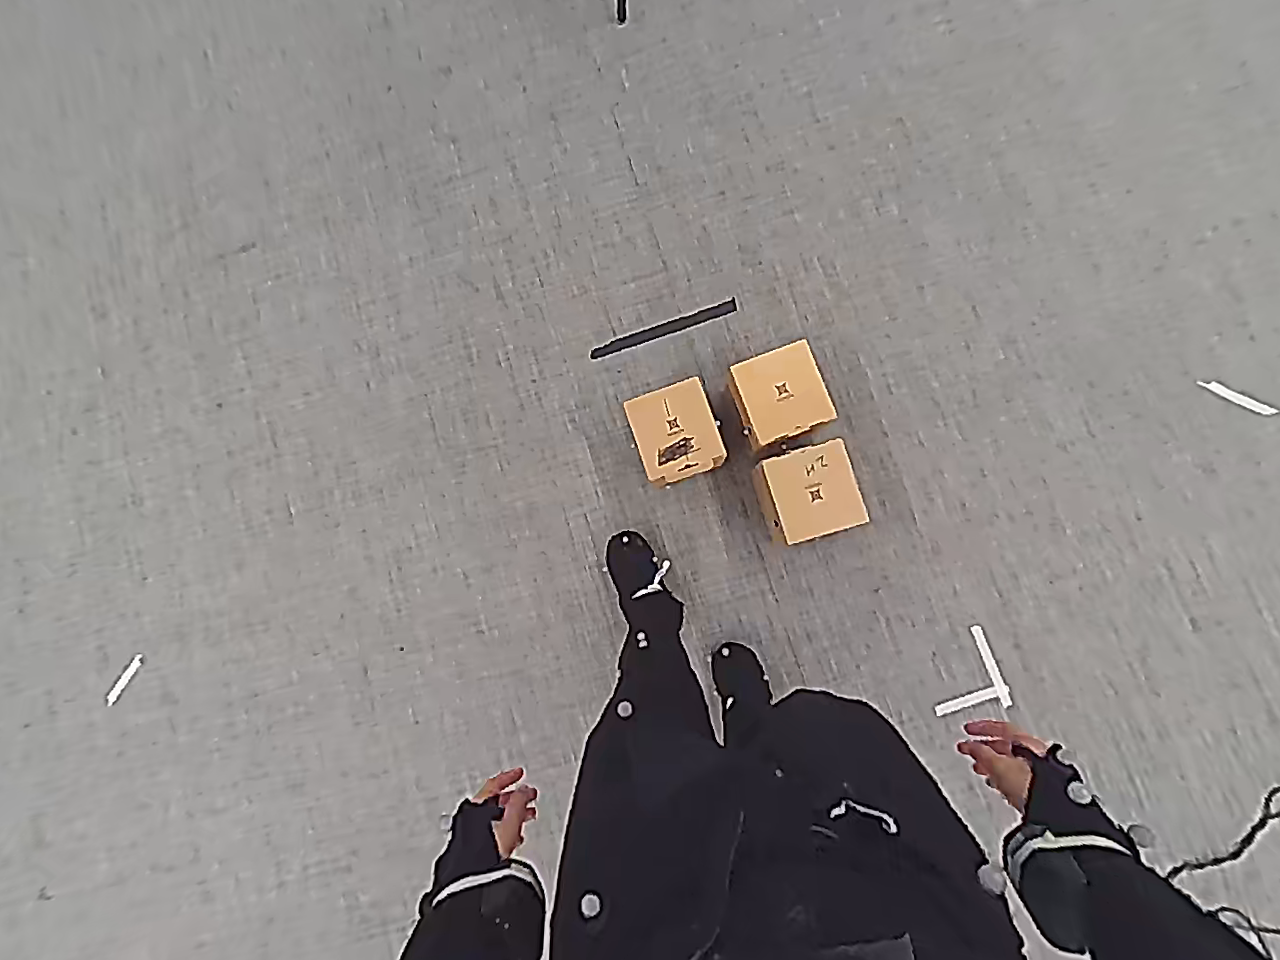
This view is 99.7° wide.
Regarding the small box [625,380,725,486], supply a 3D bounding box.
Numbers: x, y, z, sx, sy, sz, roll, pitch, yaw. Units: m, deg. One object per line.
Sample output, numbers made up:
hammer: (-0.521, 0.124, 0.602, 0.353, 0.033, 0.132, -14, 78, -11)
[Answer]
small box: (0.077, -0.091, 1.168, 0.168, 0.176, 0.179, -19, 82, 2)
